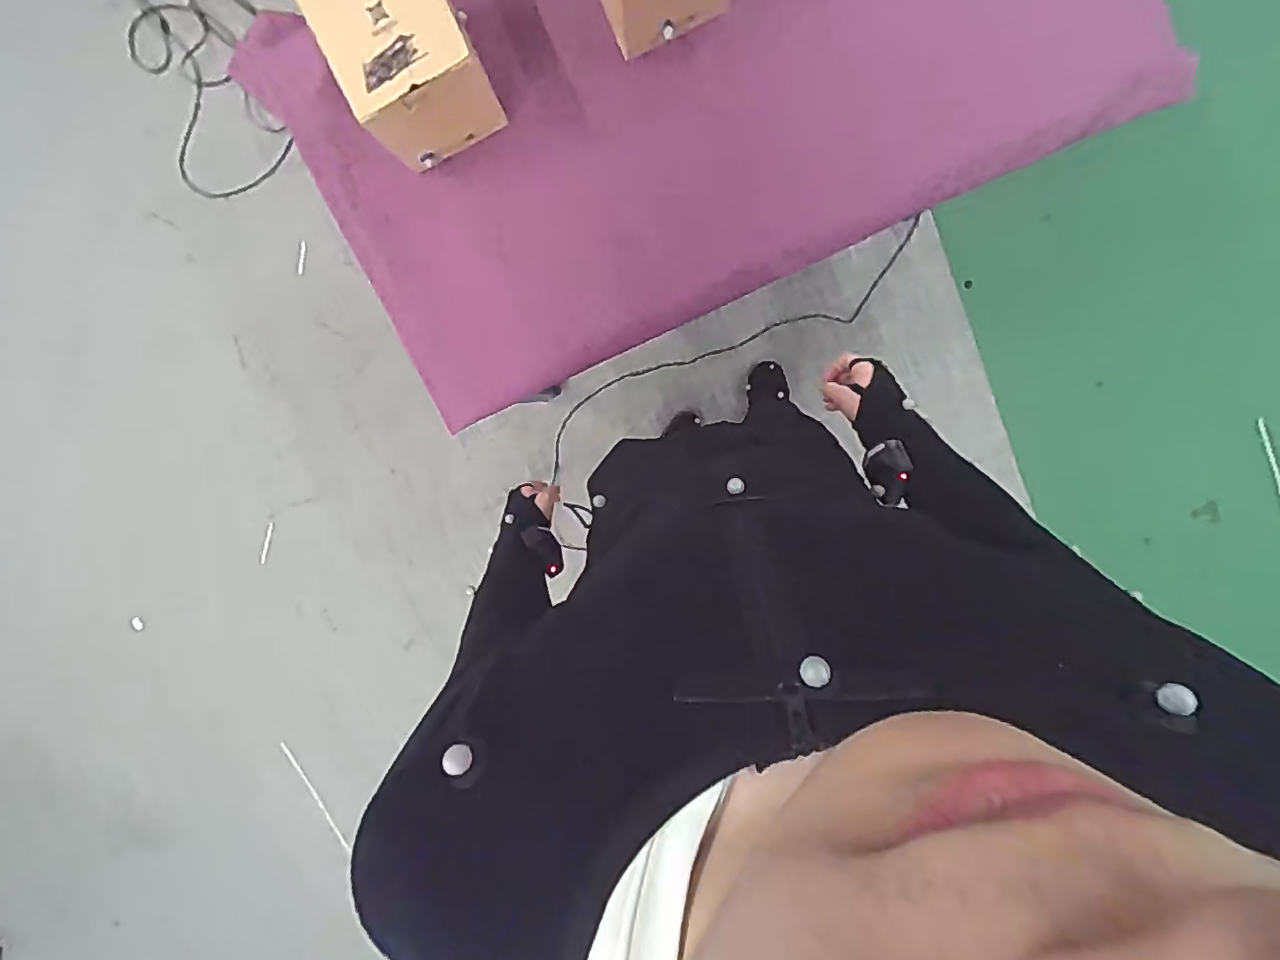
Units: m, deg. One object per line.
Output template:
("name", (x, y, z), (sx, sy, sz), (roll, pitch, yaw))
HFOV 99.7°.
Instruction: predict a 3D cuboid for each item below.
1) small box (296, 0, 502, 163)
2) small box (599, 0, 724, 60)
("small box", (-0.314, -0.570, 0.738), (0.168, 0.176, 0.179), (-25, 97, 5))
("small box", (0.012, -0.714, 0.705), (0.168, 0.176, 0.179), (-23, 98, 6))
